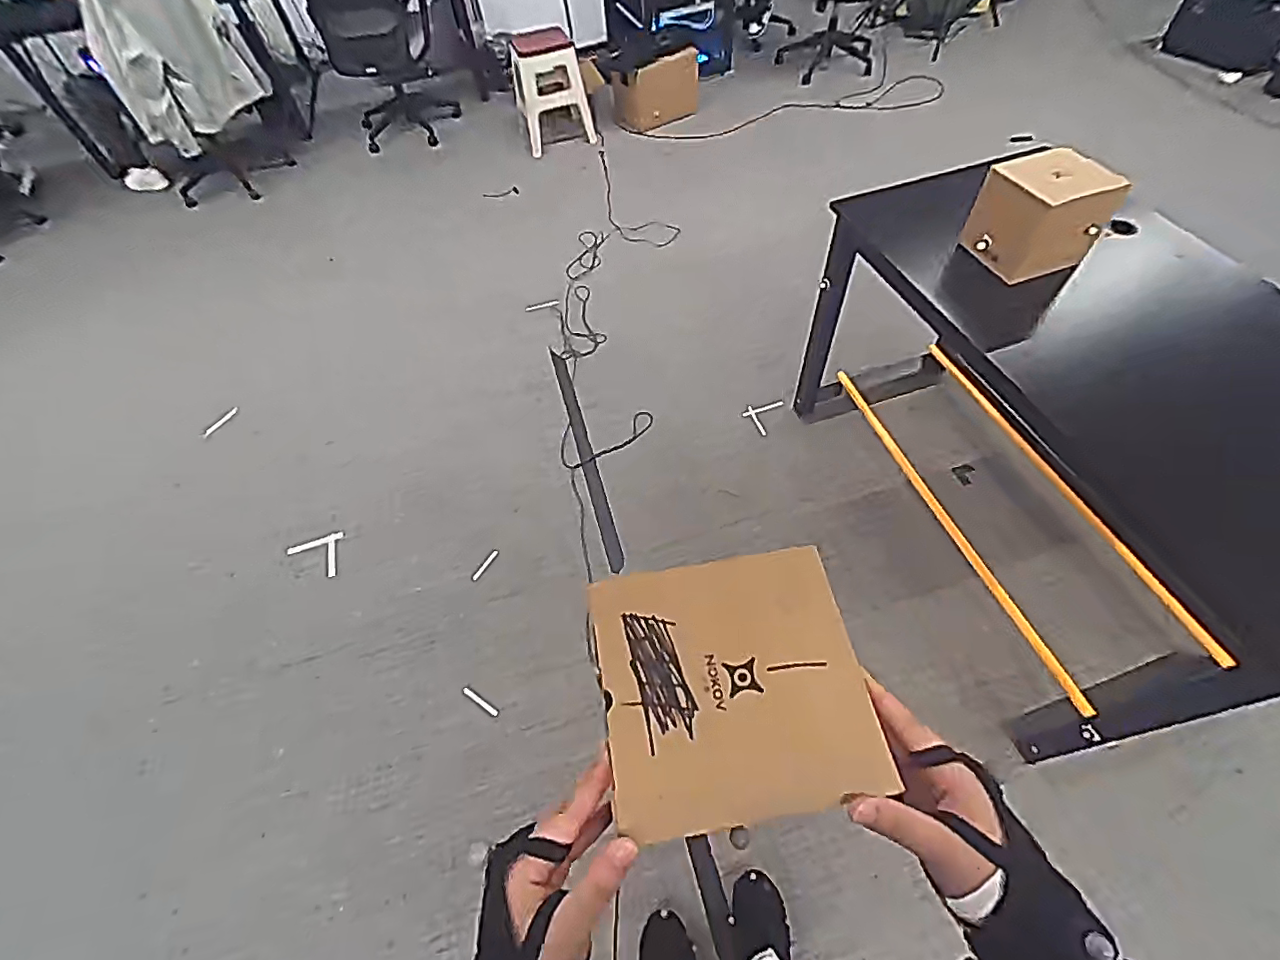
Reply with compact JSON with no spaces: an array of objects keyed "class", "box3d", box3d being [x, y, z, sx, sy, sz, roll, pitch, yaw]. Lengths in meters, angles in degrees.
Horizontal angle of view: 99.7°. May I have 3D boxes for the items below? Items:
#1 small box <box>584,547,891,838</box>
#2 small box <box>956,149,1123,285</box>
[{"class":"small box","box3d":[0.059,0.174,0.432,0.179,0.176,0.168,-9,59,-4]},{"class":"small box","box3d":[0.786,-0.525,1.088,0.179,0.176,0.168,-19,55,-7]}]
